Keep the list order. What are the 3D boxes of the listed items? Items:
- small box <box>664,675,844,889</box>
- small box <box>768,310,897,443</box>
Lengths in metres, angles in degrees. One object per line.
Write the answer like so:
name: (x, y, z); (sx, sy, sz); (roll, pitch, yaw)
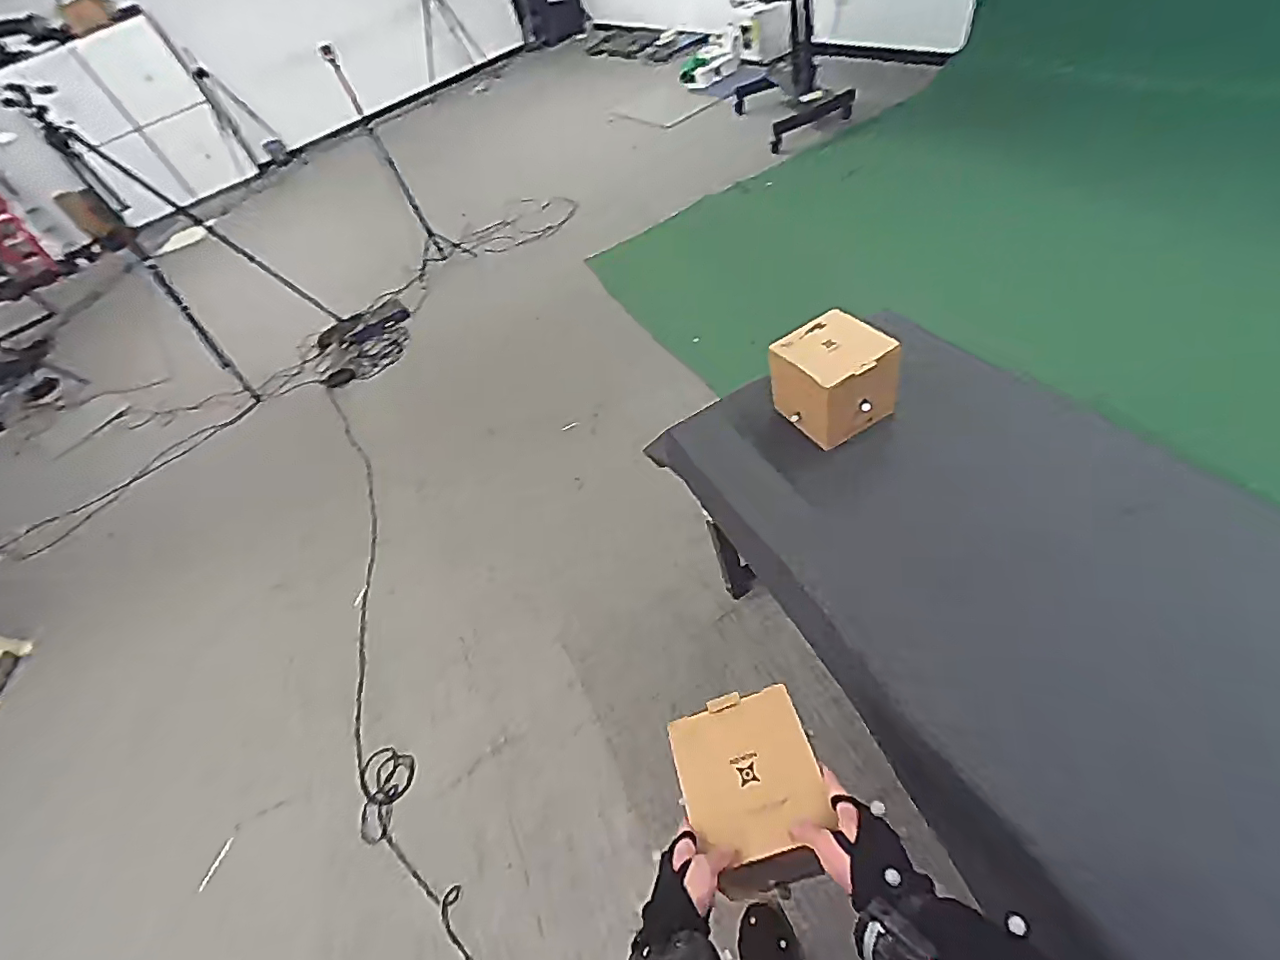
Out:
small box: (0.143, 0.385, 0.687); (0.168, 0.176, 0.179); (-21, 42, 7)
small box: (0.377, -0.197, 1.072); (0.168, 0.176, 0.179); (-30, 49, -7)
